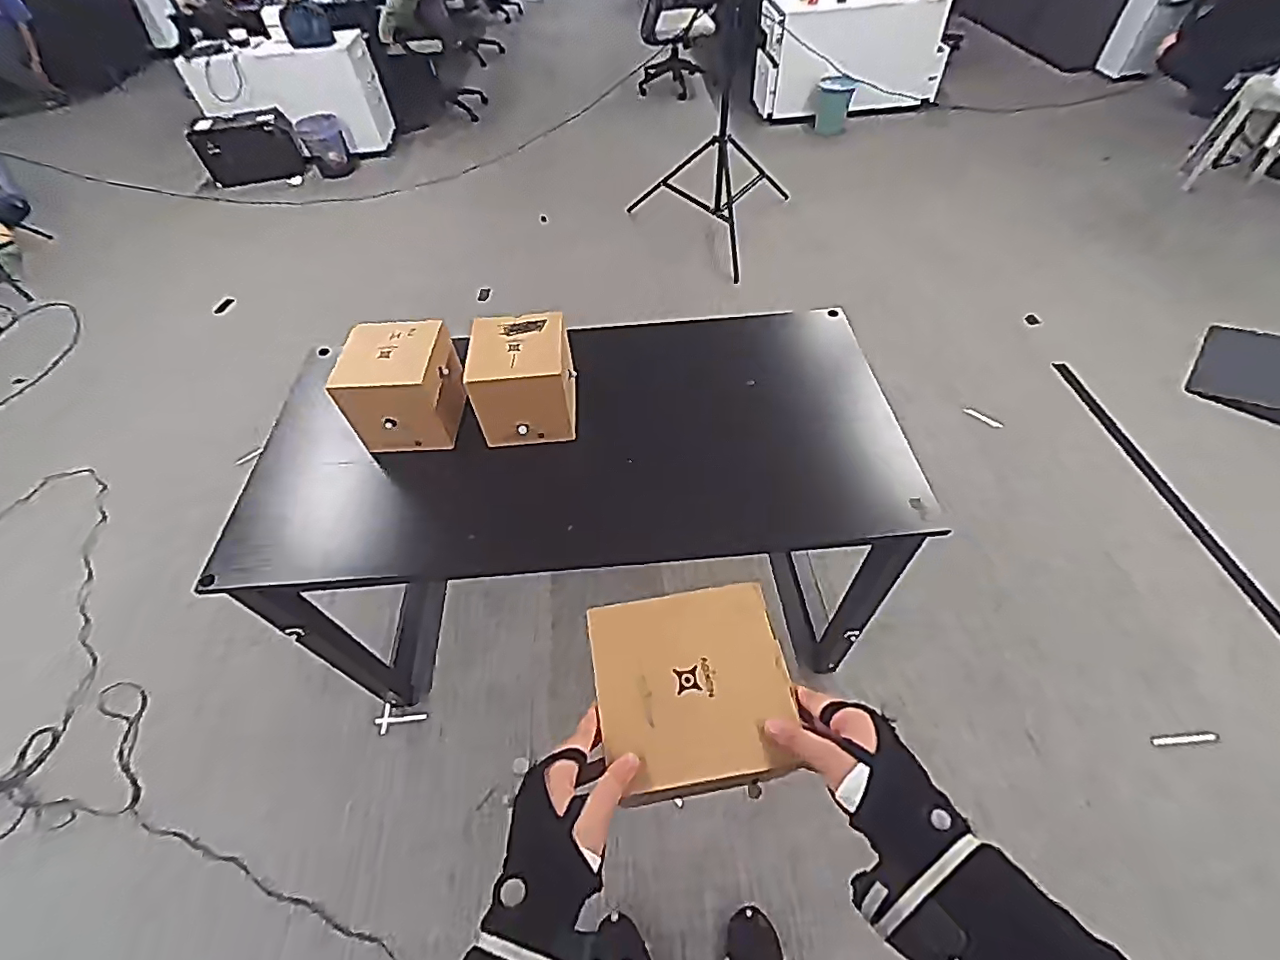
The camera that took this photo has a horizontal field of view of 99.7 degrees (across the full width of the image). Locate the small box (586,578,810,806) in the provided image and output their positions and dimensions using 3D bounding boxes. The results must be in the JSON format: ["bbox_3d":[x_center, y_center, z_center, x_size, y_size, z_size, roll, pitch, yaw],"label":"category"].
[{"bbox_3d":[0.048,0.222,0.556,0.179,0.176,0.168,-10,55,-3],"label":"small box"}]

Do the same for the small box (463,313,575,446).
[{"bbox_3d":[-0.215,-0.186,1.011,0.168,0.176,0.179,-5,53,0],"label":"small box"}]

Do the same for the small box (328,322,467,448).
[{"bbox_3d":[-0.439,-0.172,1.013,0.168,0.176,0.179,-2,52,1],"label":"small box"}]
